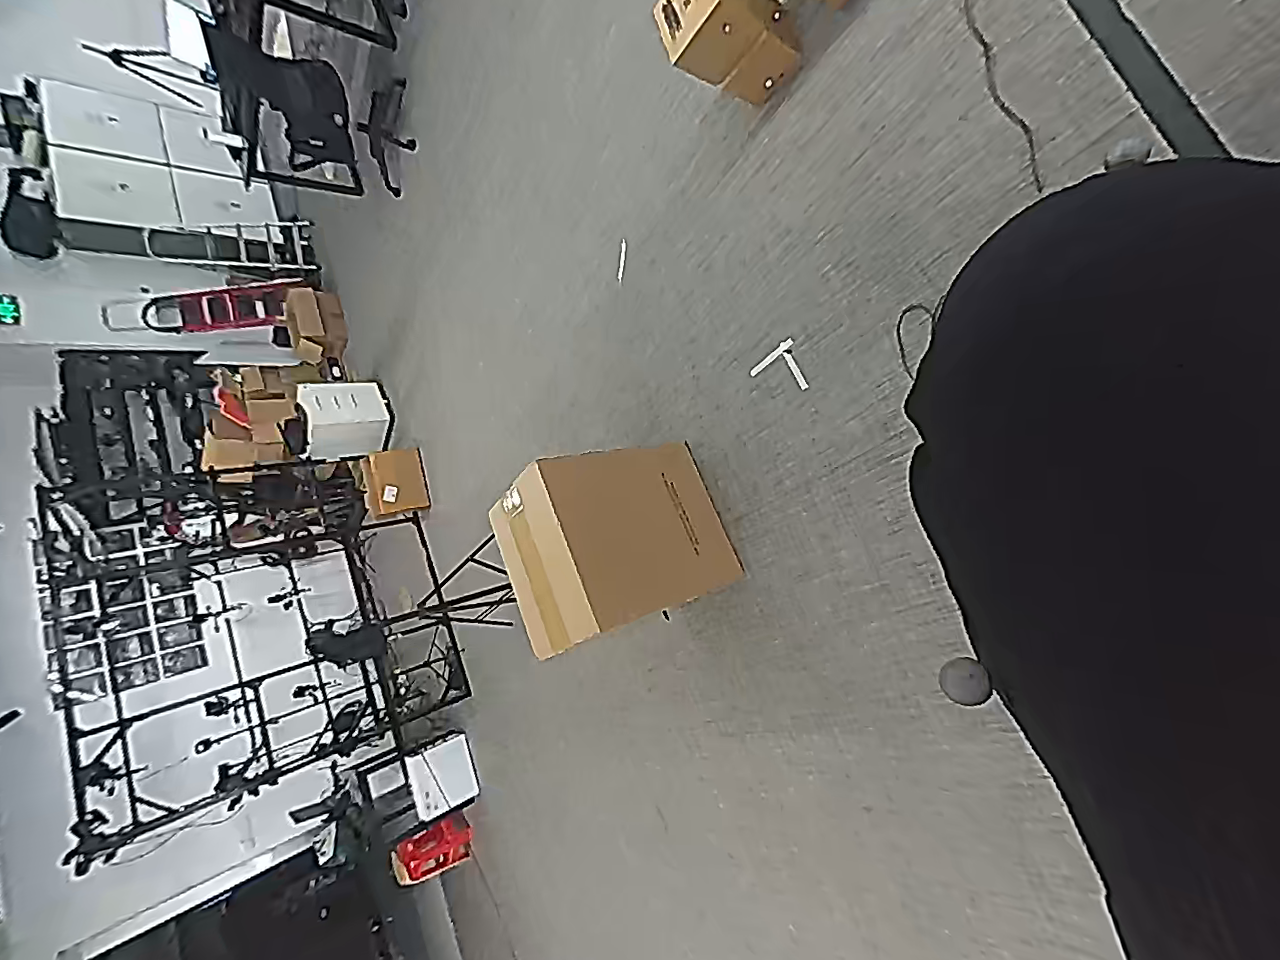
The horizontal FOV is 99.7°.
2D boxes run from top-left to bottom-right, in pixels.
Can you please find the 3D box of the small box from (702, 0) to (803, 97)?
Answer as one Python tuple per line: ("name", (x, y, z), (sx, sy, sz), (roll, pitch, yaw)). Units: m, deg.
("small box", (0.297, -1.162, 1.425), (0.168, 0.176, 0.179), (-26, 80, 50))
